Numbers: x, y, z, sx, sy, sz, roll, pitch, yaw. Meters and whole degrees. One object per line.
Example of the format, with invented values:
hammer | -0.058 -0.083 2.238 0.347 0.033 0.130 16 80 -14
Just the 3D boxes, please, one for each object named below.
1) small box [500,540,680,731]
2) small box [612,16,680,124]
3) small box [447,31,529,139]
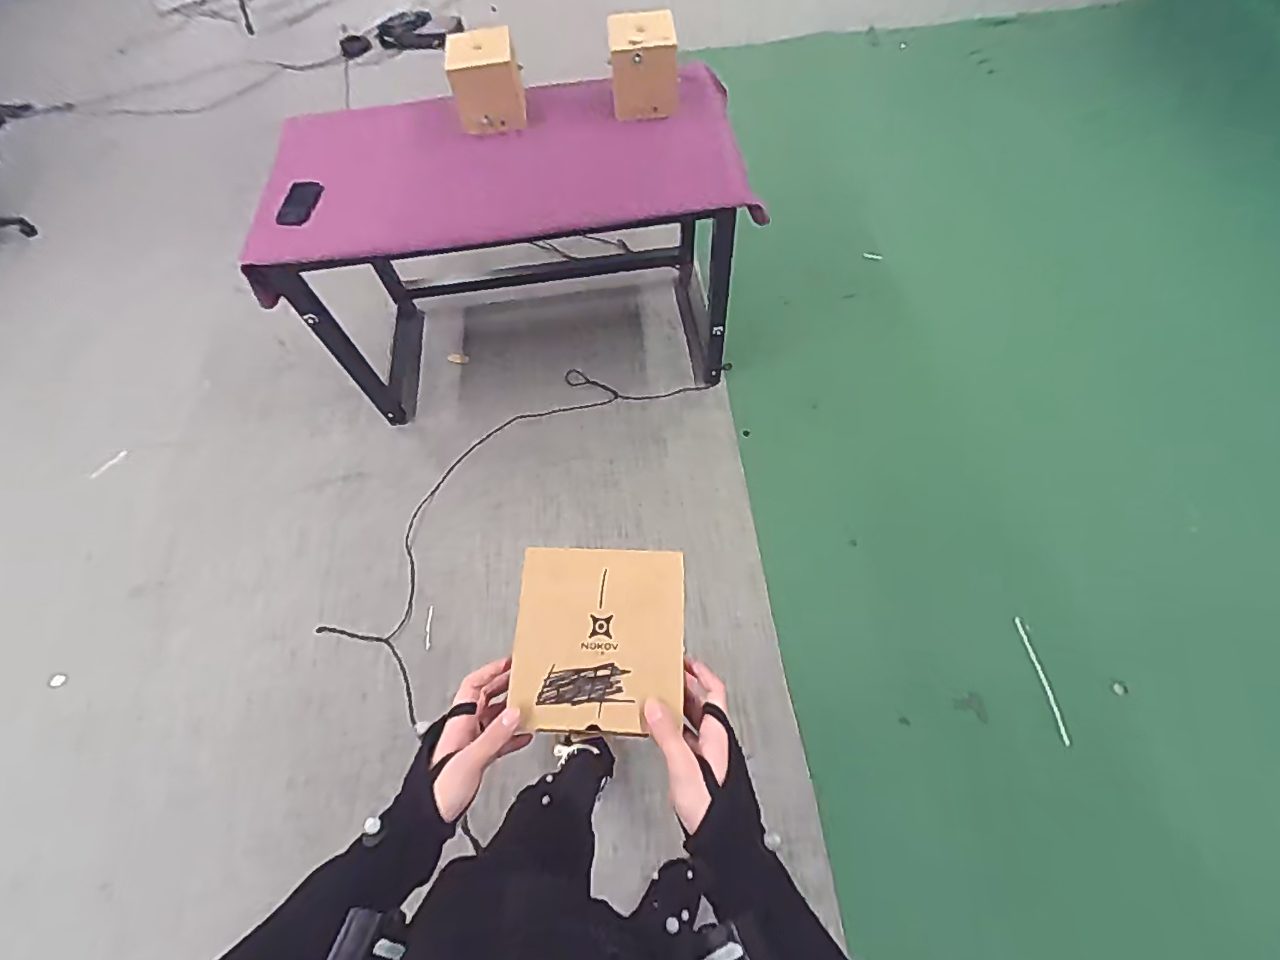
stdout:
small box | -0.041 0.176 0.596 0.168 0.176 0.179 1 65 2
small box | 0.015 -1.074 1.422 0.168 0.176 0.179 -5 61 2
small box | -0.395 -1.043 1.432 0.168 0.176 0.179 -8 62 0
